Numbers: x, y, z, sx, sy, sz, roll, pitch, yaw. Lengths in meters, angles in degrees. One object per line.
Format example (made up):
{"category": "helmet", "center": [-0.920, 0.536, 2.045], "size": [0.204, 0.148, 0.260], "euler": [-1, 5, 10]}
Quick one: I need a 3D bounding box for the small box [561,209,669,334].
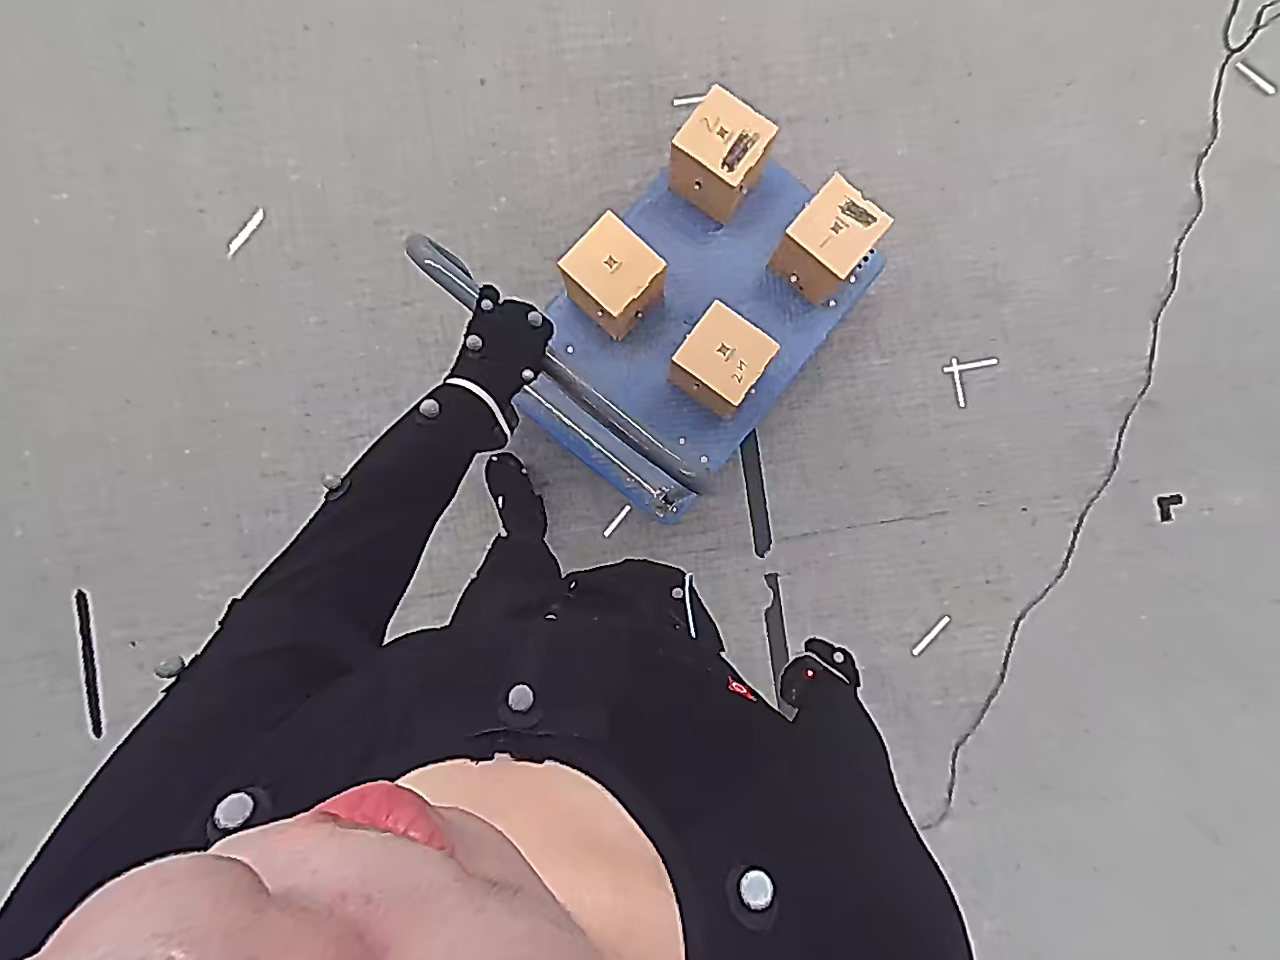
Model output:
{"category": "small box", "center": [-0.056, -0.465, 1.237], "size": [0.179, 0.176, 0.168], "euler": [43, 88, 0]}

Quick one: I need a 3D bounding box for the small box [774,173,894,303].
{"category": "small box", "center": [0.433, -0.546, 1.243], "size": [0.168, 0.176, 0.179], "euler": [41, 89, 1]}

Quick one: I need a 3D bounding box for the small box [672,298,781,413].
{"category": "small box", "center": [0.186, -0.271, 1.229], "size": [0.179, 0.176, 0.168], "euler": [37, 88, 2]}
